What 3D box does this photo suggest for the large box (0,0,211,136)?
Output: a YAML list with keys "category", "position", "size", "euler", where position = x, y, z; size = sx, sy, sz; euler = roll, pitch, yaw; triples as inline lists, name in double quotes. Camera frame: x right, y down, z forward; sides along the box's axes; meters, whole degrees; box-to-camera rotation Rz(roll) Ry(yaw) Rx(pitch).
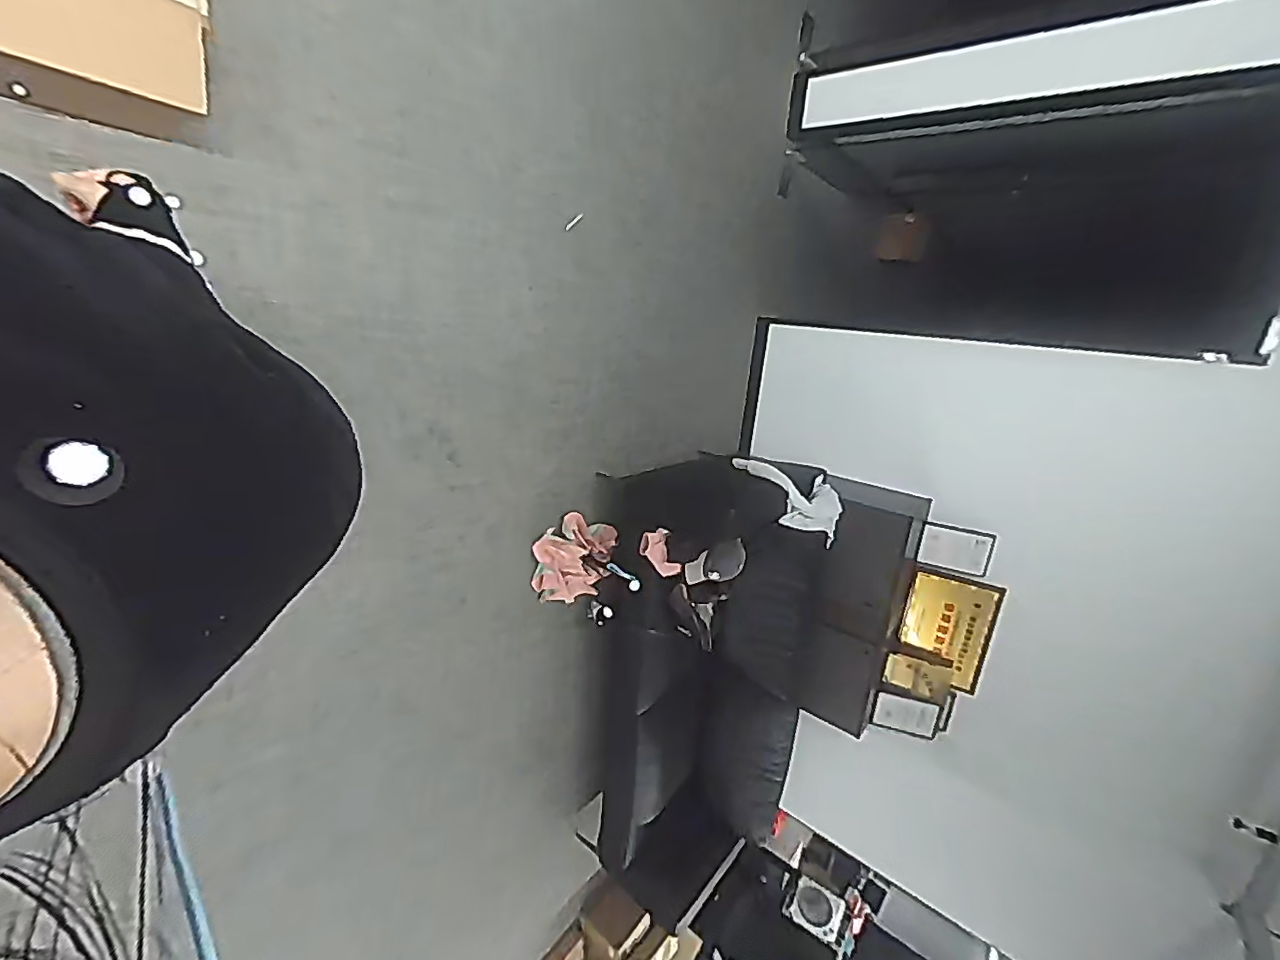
- category: "large box"
  position: [-0.944, -0.766, 0.811]
  size: [0.408, 0.320, 0.320]
  euler: [-11, 113, -49]
